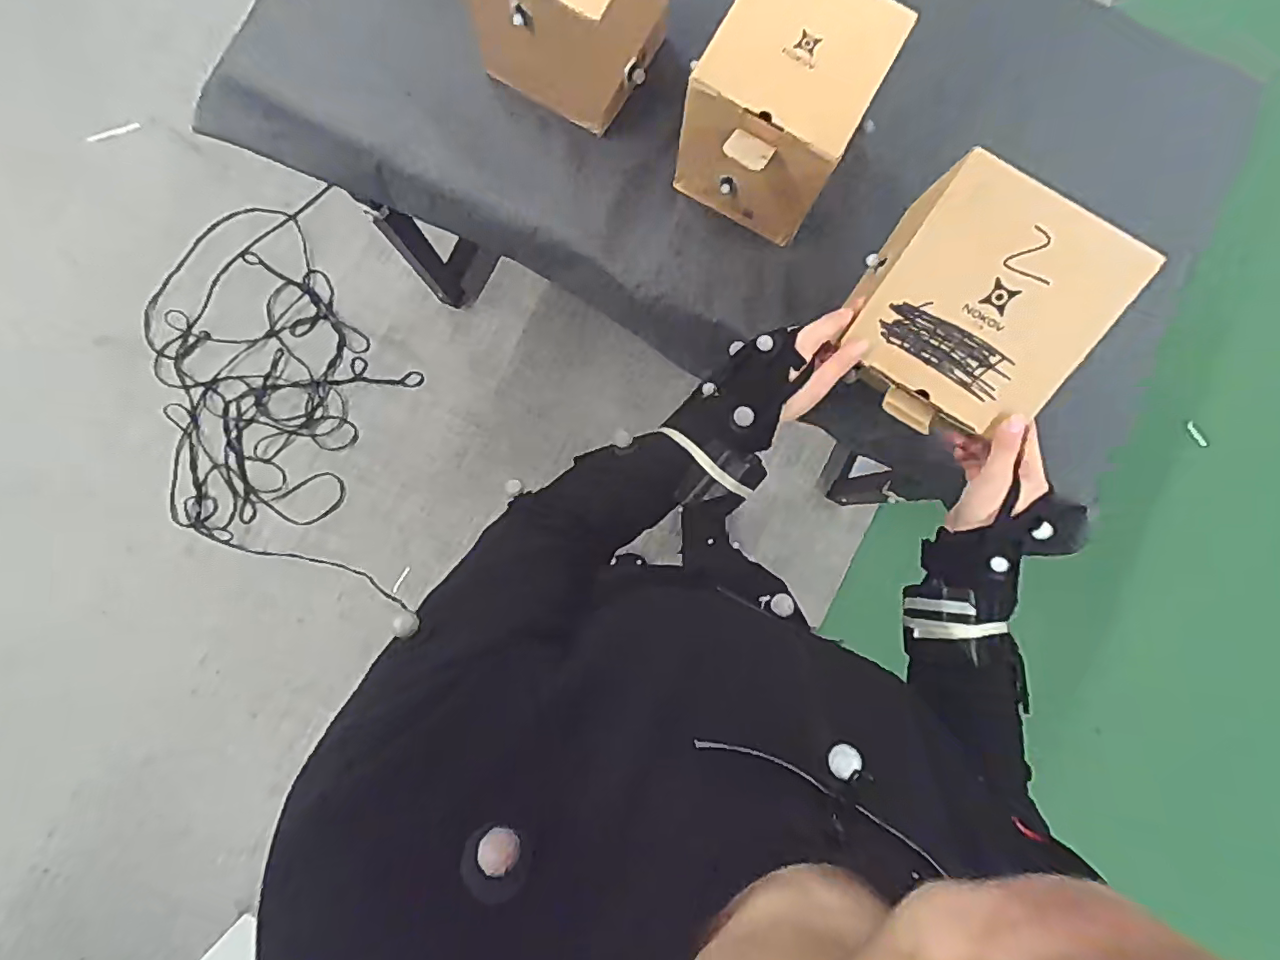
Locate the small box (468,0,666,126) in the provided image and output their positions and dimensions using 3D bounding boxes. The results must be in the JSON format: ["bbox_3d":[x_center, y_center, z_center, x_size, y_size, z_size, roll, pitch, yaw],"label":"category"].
[{"bbox_3d":[-0.081,-0.547,0.602,0.179,0.176,0.168,30,86,0],"label":"small box"}]

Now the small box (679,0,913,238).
[{"bbox_3d":[0.154,-0.415,0.602,0.168,0.176,0.179,29,86,0],"label":"small box"}]
